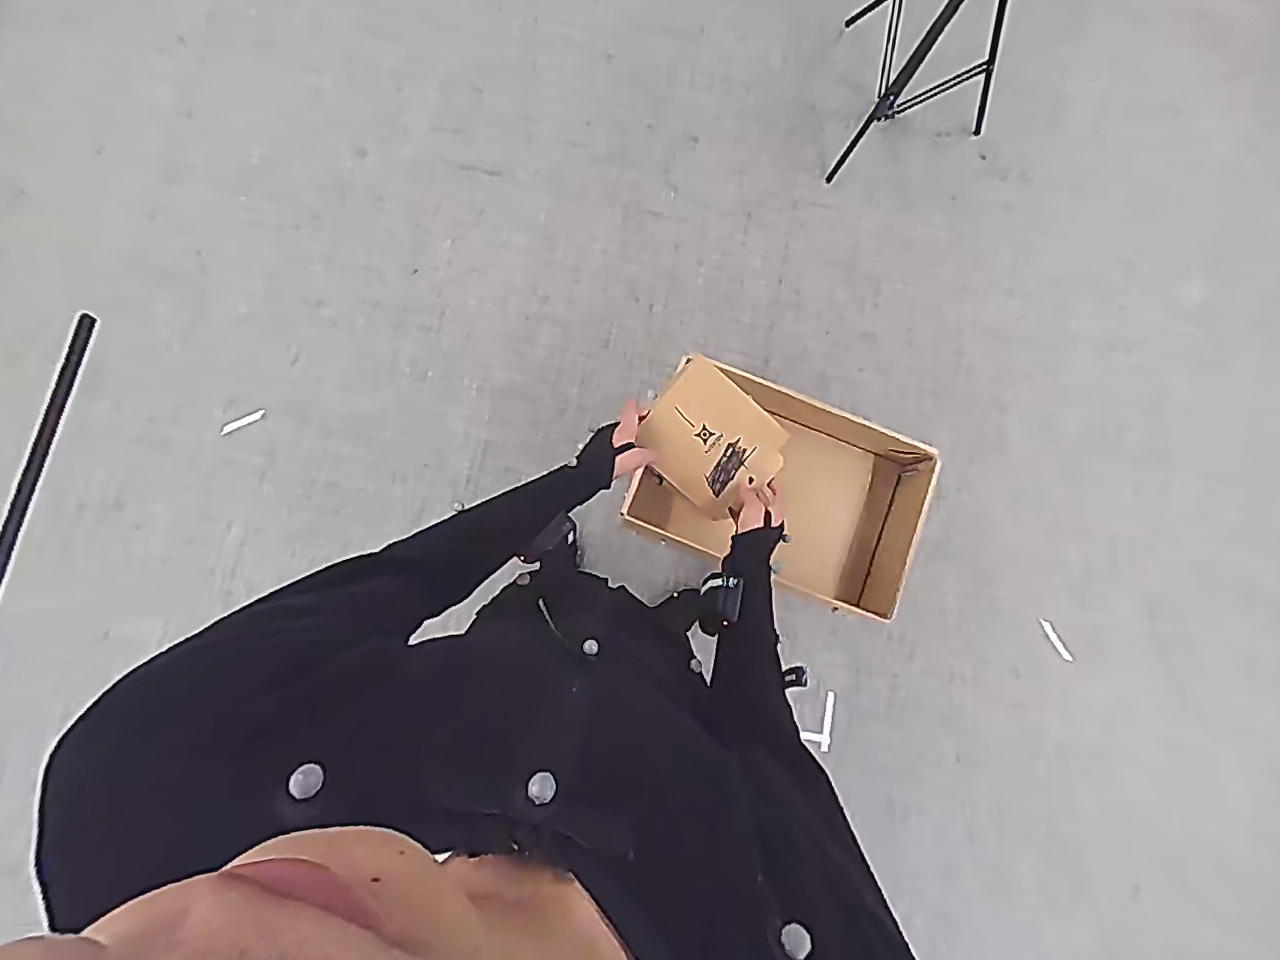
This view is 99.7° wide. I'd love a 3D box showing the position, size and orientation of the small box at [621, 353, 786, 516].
[{"bbox_3d":[0.087,-0.071,0.837,0.179,0.176,0.168,41,91,-6],"label":"small box"}]
